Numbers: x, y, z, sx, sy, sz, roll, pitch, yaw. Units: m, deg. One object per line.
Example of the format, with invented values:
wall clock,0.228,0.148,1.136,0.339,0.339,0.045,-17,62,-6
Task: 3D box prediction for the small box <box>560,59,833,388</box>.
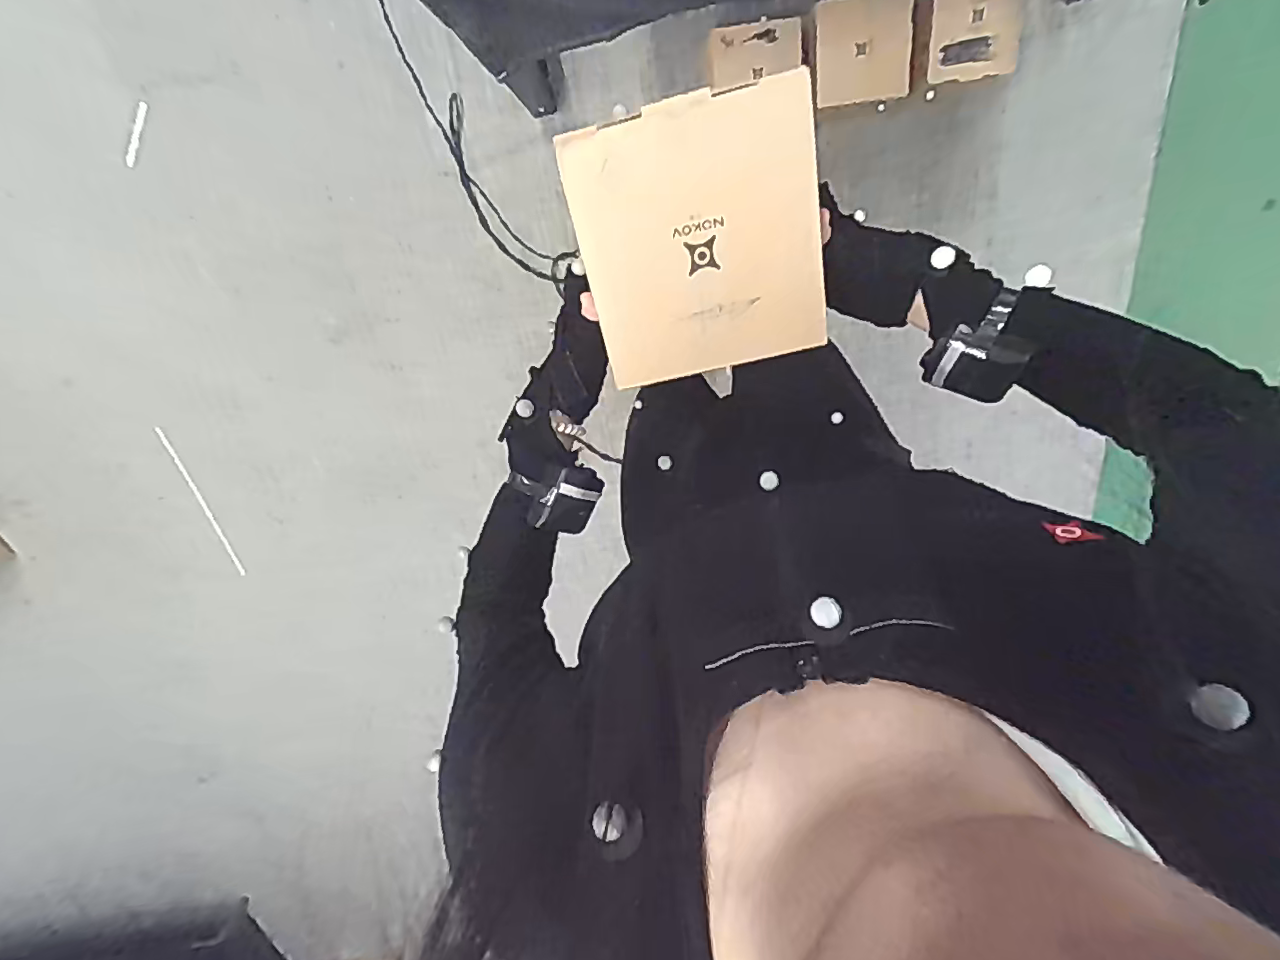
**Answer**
small box,0.043,-0.195,0.432,0.168,0.176,0.179,-11,118,5
